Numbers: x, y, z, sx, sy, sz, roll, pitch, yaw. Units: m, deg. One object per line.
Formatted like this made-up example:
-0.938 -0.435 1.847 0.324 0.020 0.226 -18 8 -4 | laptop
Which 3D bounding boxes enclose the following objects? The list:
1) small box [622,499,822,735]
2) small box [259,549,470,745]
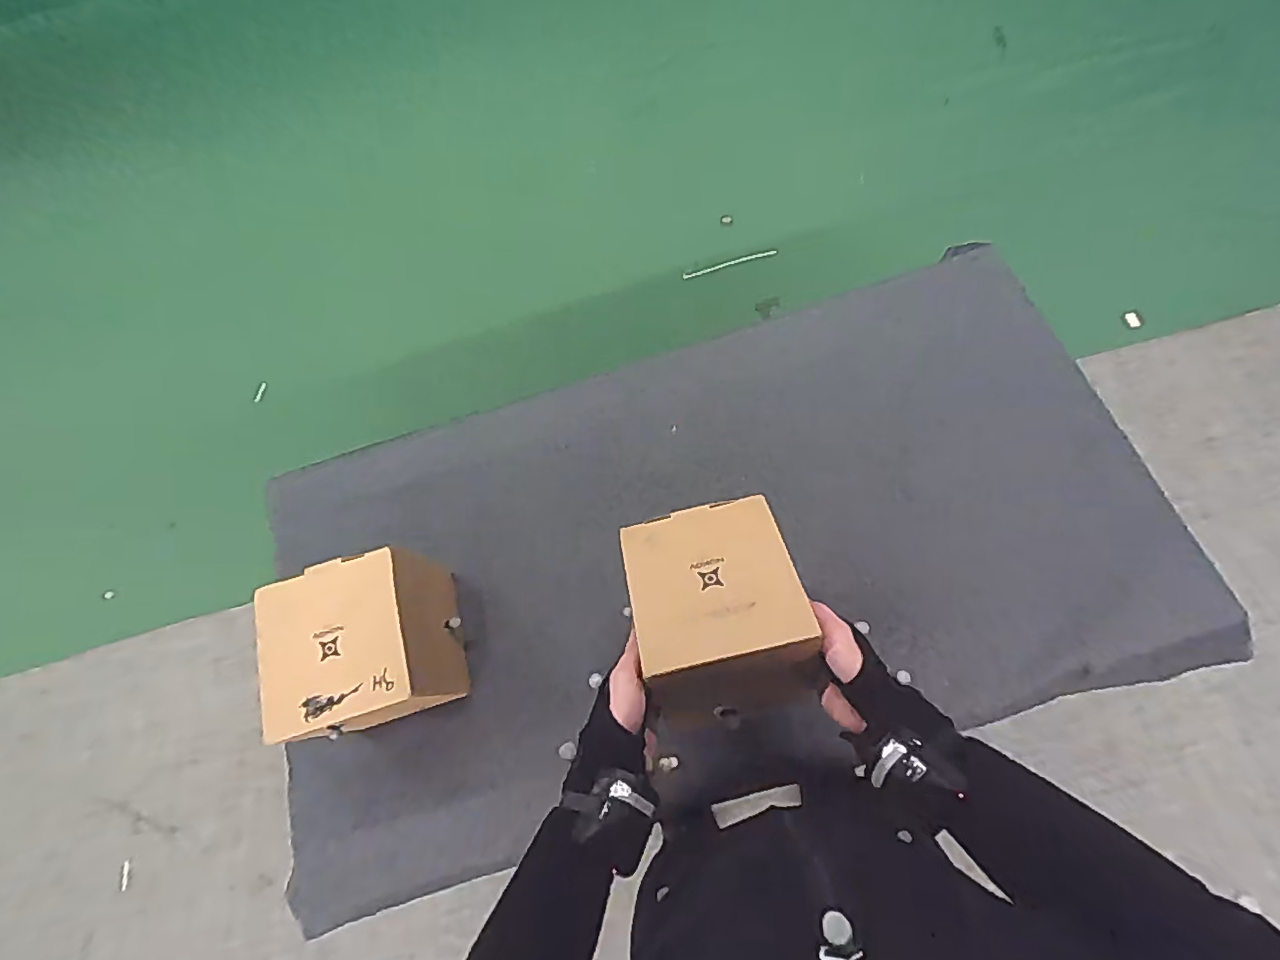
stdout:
0.083 0.152 0.593 0.168 0.176 0.179 -13 48 2 | small box
-0.332 0.207 0.672 0.168 0.176 0.179 -18 69 1 | small box
